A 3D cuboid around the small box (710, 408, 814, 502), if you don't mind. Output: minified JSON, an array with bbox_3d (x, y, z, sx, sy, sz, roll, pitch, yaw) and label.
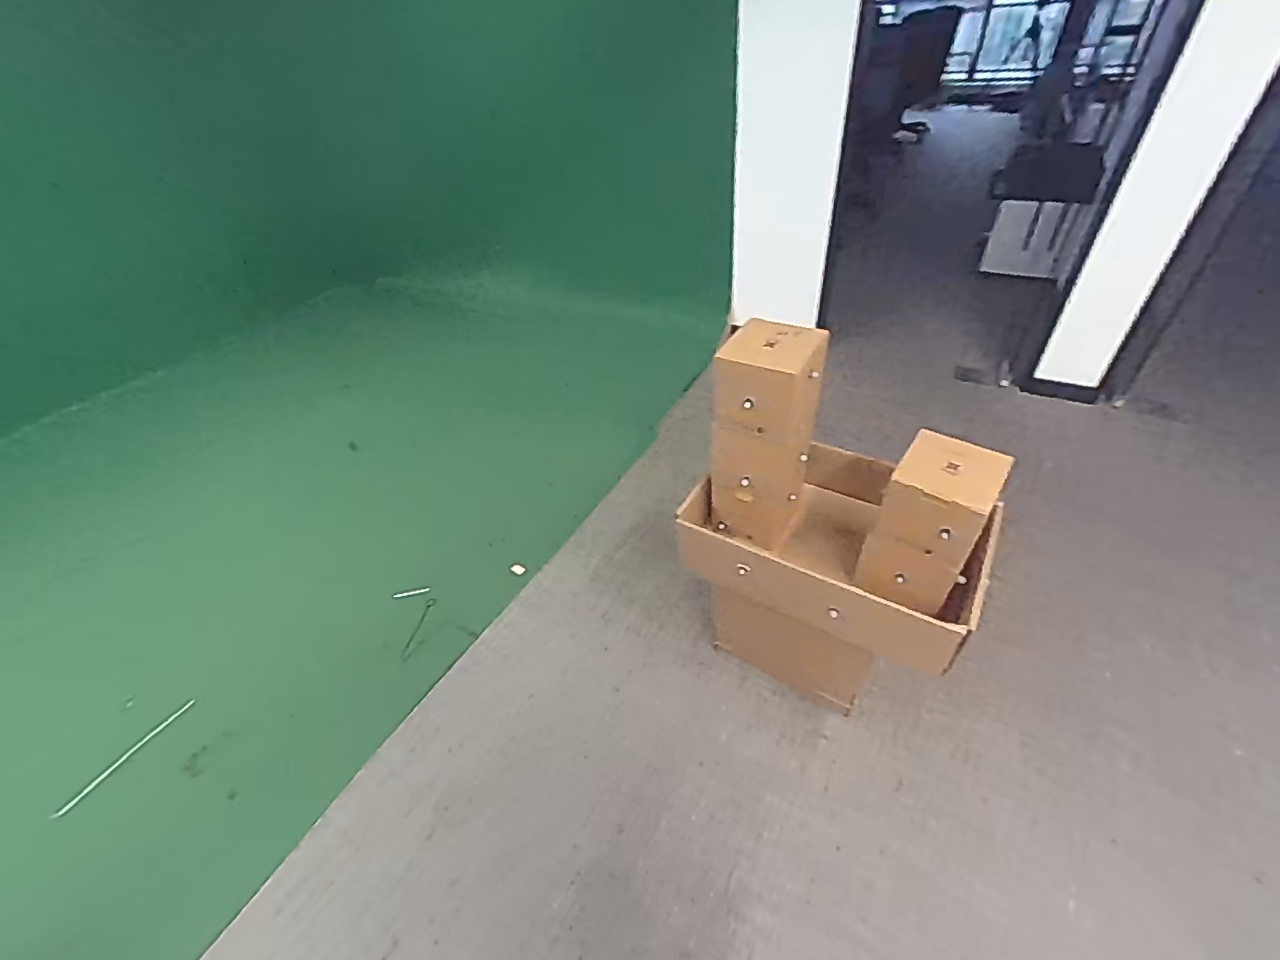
[{"bbox_3d":[0.270,-0.075,1.211,0.179,0.176,0.168,19,48,25],"label":"small box"}]

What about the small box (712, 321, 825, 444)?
[{"bbox_3d":[0.259,-0.197,1.100,0.168,0.176,0.179,20,49,27],"label":"small box"}]

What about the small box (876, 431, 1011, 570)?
[{"bbox_3d":[0.573,0.041,1.040,0.168,0.176,0.179,26,51,30],"label":"small box"}]
